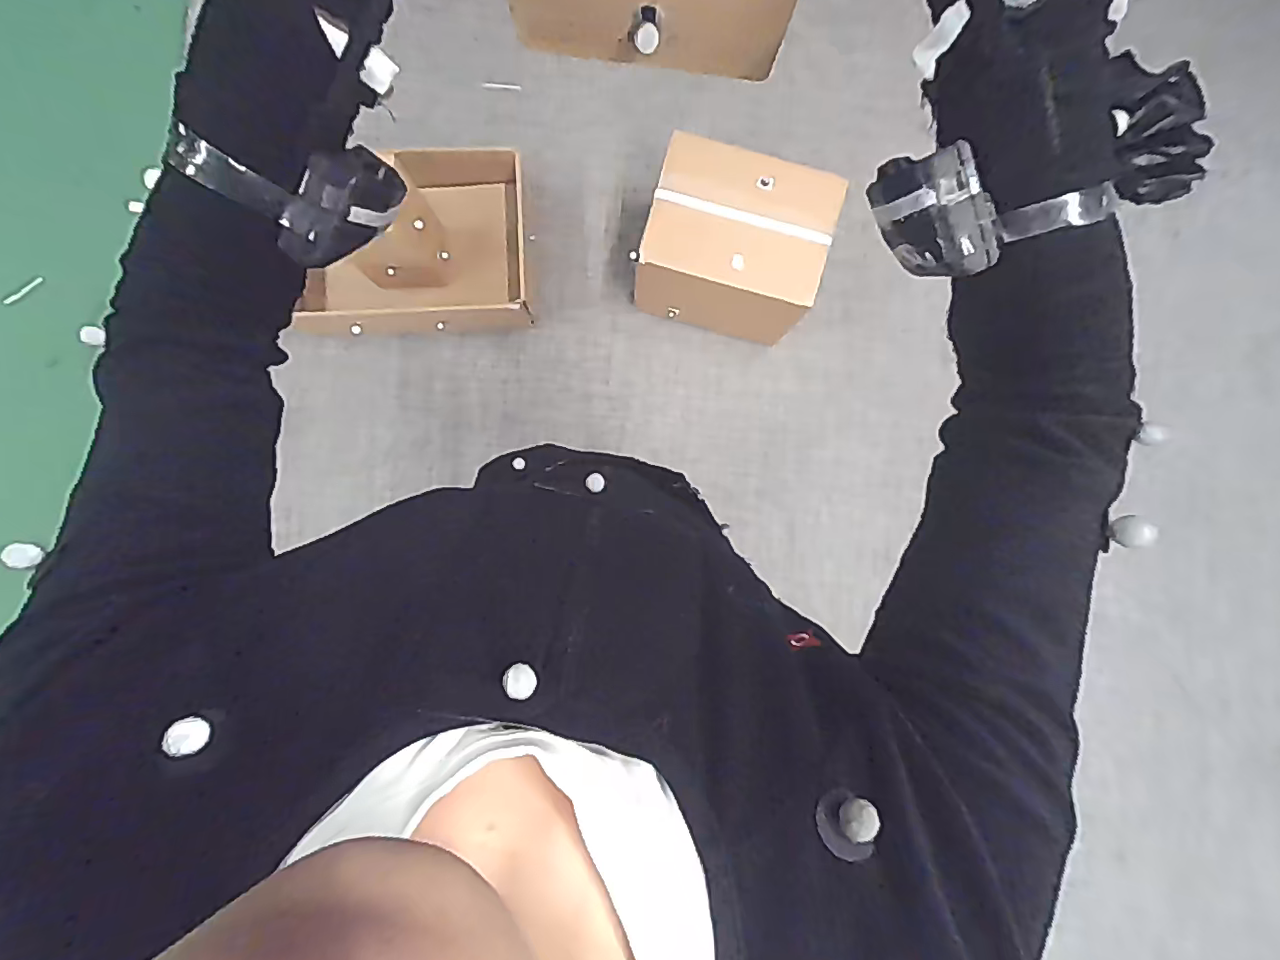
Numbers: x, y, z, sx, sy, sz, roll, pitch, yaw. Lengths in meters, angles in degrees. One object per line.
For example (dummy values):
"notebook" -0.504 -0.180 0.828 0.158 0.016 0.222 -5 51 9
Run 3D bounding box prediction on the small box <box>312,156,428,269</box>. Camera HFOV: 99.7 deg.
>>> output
"small box" -0.590 -0.584 1.199 0.179 0.176 0.168 2 88 -3

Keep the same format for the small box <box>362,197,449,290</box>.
"small box" -0.596 -0.590 1.364 0.179 0.176 0.168 -1 88 -3
